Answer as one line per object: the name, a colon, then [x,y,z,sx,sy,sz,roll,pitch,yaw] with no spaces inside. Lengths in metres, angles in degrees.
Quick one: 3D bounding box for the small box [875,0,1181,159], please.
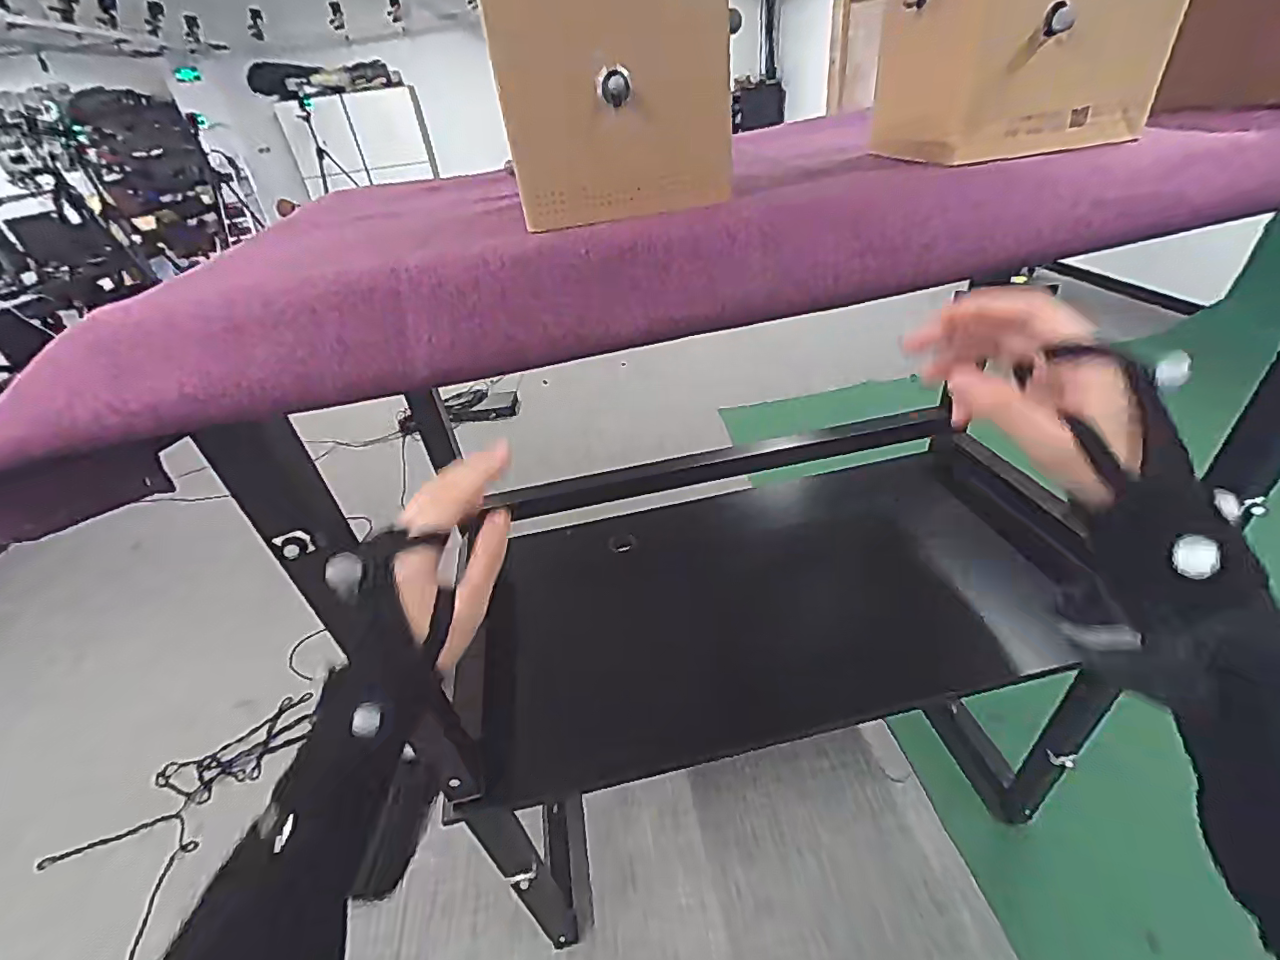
small box: [0.333,-0.394,0.482,0.168,0.176,0.179,-8,34,0]
